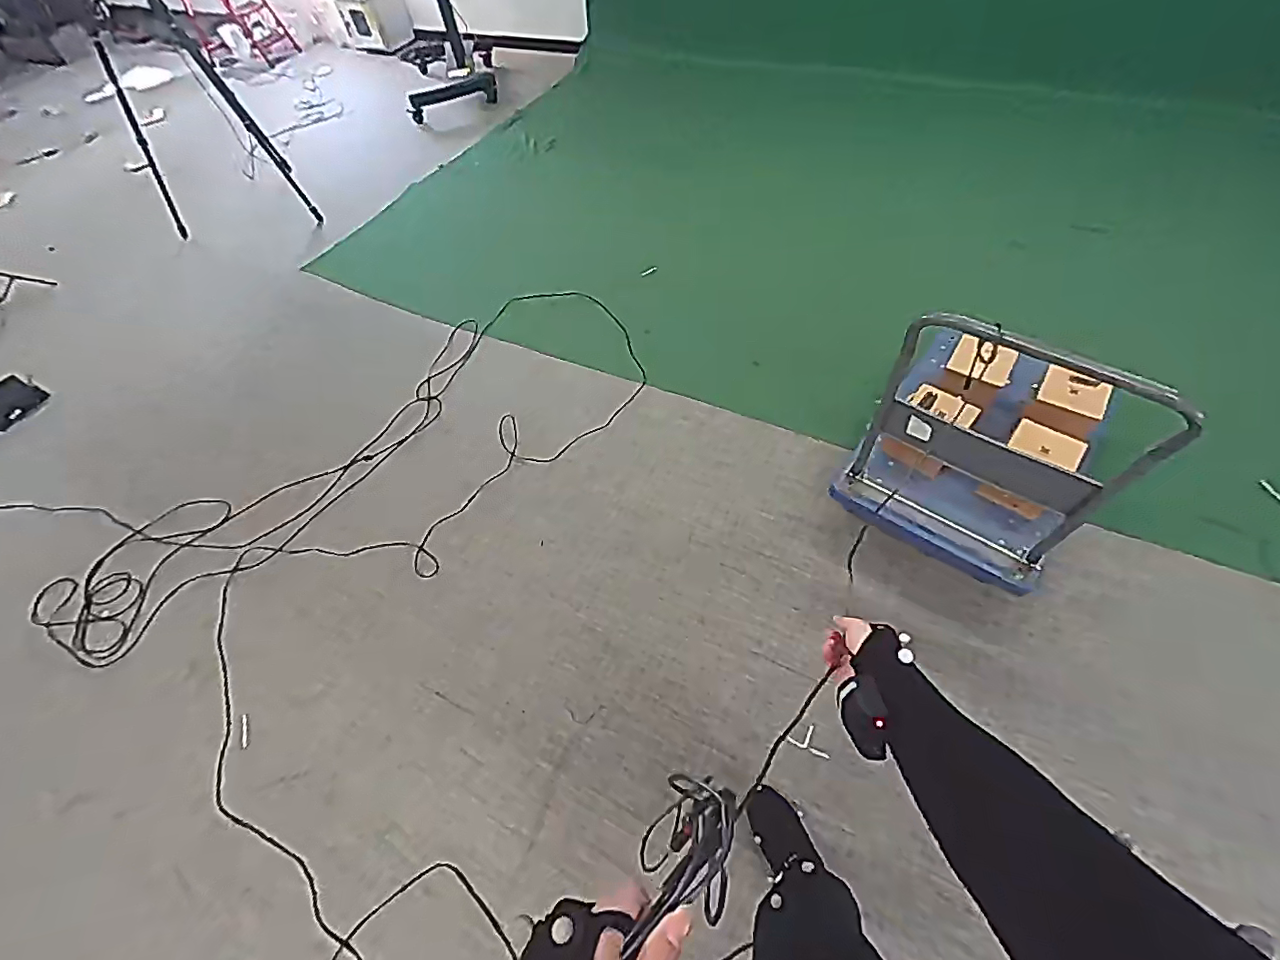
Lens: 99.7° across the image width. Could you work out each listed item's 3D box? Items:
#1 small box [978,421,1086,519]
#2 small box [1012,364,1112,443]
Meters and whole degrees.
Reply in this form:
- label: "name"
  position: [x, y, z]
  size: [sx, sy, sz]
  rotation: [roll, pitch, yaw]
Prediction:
- label: "small box"
  position: [1.084, -0.026, 1.509]
  size: [0.168, 0.176, 0.179]
  rotation: [32, 65, 25]
- label: "small box"
  position: [1.253, -0.208, 1.616]
  size: [0.168, 0.176, 0.179]
  rotation: [28, 63, 24]
